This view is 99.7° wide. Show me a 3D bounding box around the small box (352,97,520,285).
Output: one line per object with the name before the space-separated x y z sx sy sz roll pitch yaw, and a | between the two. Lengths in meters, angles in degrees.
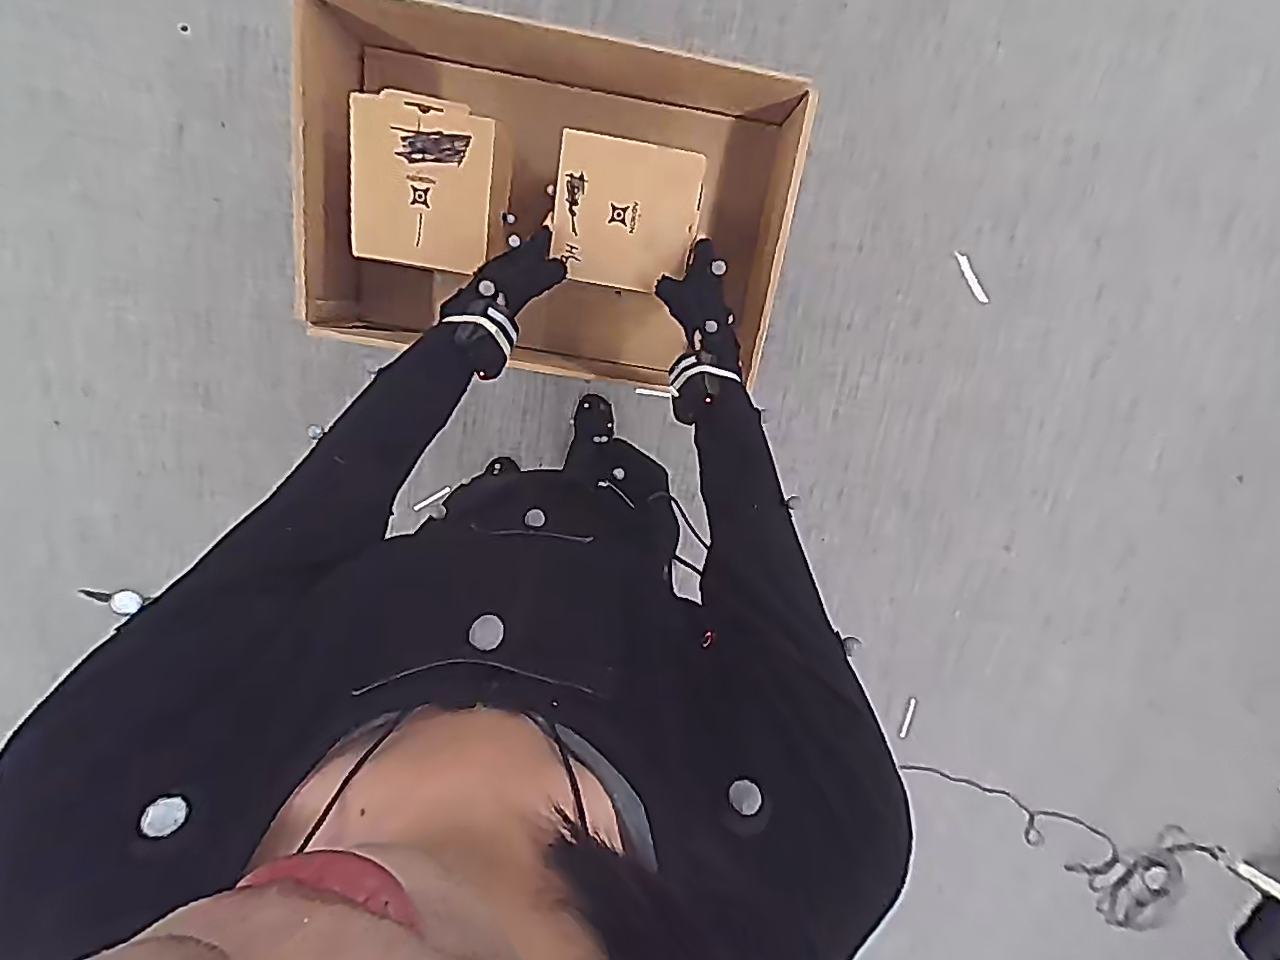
small box | -0.260 -0.366 0.719 0.168 0.176 0.179 8 107 -4

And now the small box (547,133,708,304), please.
small box | -0.019 -0.339 0.735 0.179 0.176 0.168 9 106 -3
